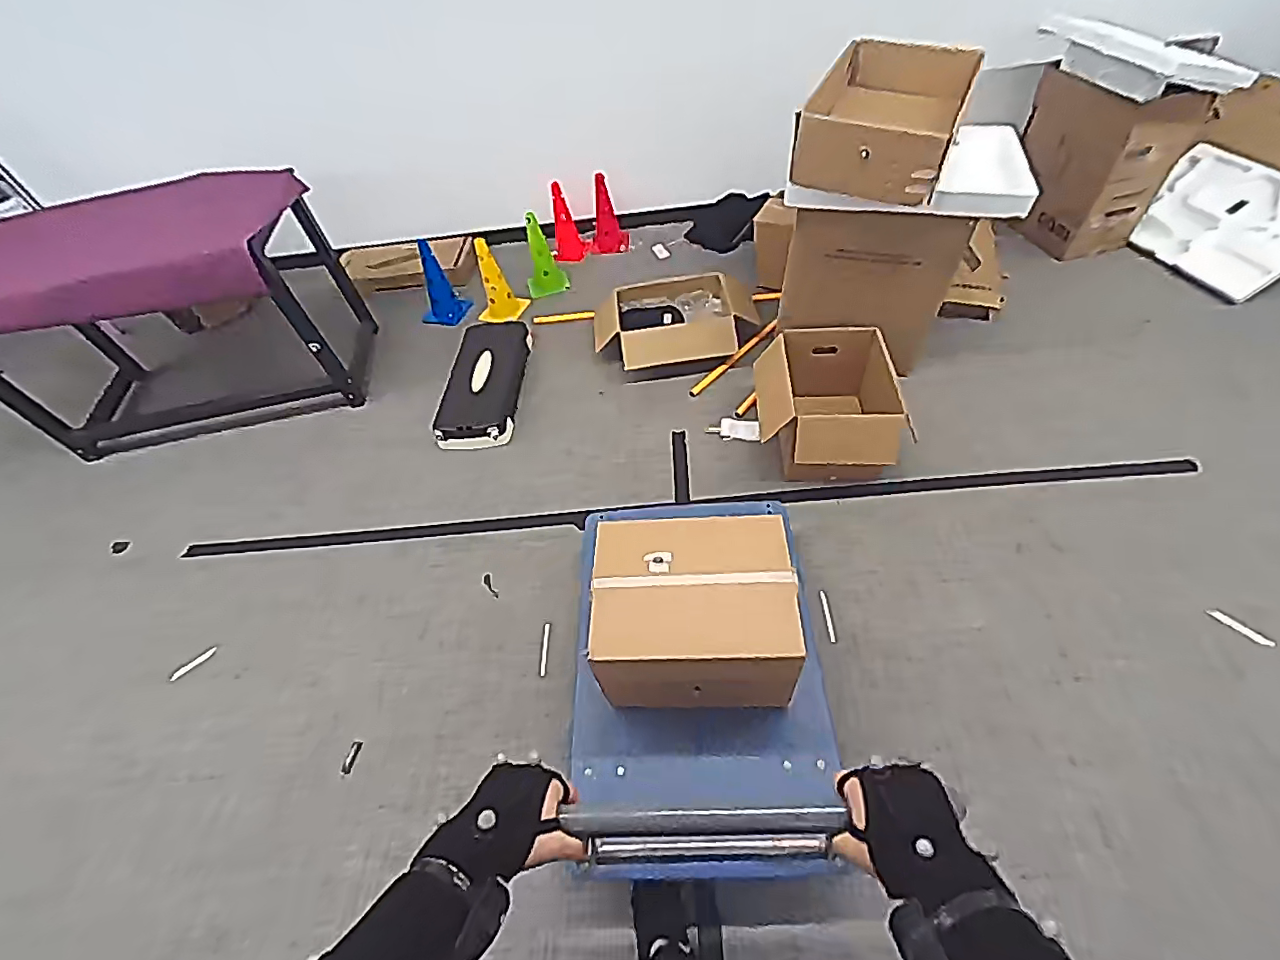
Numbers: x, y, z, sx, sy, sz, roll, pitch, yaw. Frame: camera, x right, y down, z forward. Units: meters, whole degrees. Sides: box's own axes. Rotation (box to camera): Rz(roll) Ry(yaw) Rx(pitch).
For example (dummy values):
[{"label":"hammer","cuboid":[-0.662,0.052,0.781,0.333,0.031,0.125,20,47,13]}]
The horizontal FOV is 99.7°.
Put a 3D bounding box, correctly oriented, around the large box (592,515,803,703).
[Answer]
[{"label":"large box","cuboid":[0.124,0.301,1.220,0.408,0.320,0.320,-4,51,6]}]
